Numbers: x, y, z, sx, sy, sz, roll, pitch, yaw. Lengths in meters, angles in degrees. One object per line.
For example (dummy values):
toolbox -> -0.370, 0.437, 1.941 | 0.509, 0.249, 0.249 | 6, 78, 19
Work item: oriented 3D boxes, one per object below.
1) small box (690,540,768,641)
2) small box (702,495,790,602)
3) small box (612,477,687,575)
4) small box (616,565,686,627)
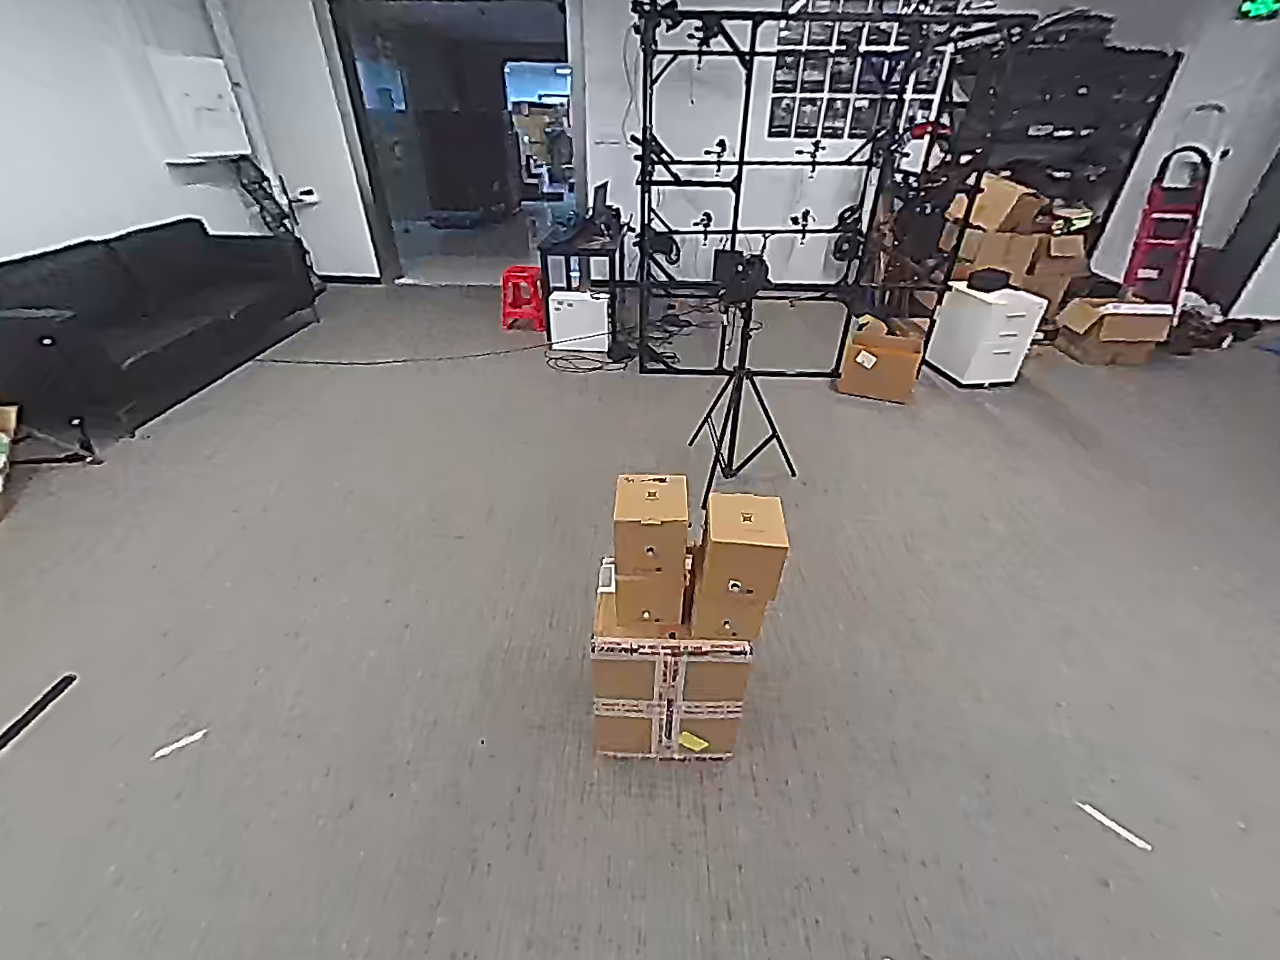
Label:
small box -> 0.215, 0.272, 1.344 | 0.168, 0.176, 0.179 | 2, 35, 1
small box -> 0.233, 0.154, 1.233 | 0.168, 0.176, 0.179 | 2, 36, 2
small box -> 0.027, 0.110, 1.286 | 0.168, 0.176, 0.179 | 0, 36, 2
small box -> 0.025, 0.250, 1.372 | 0.168, 0.176, 0.179 | -1, 37, 0
